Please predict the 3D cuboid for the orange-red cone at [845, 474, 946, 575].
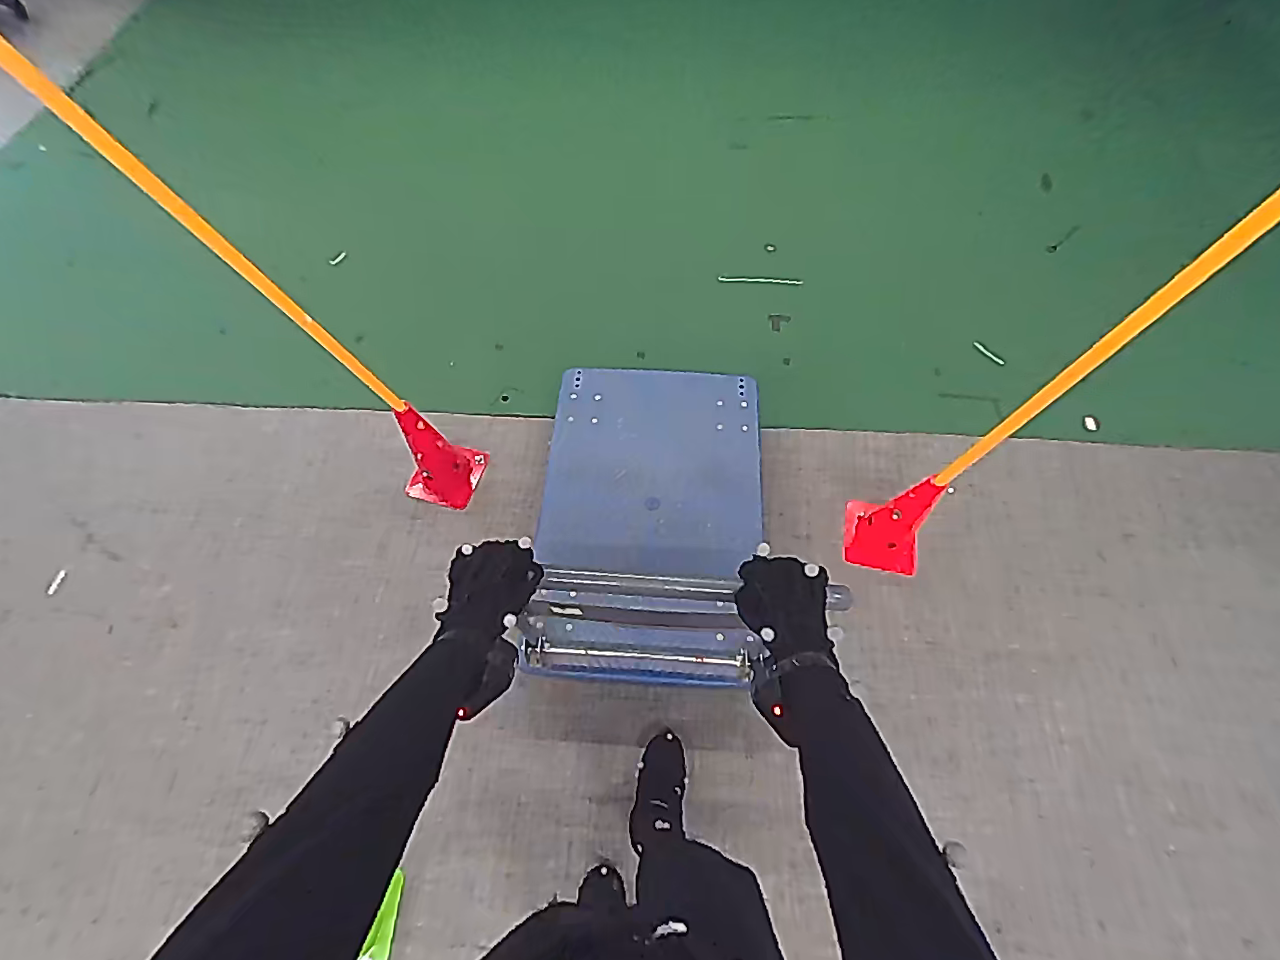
[{"bbox_3d":[0.683,0.083,1.383,0.198,0.360,0.199,12,65,8],"label":"orange-red cone"}]
